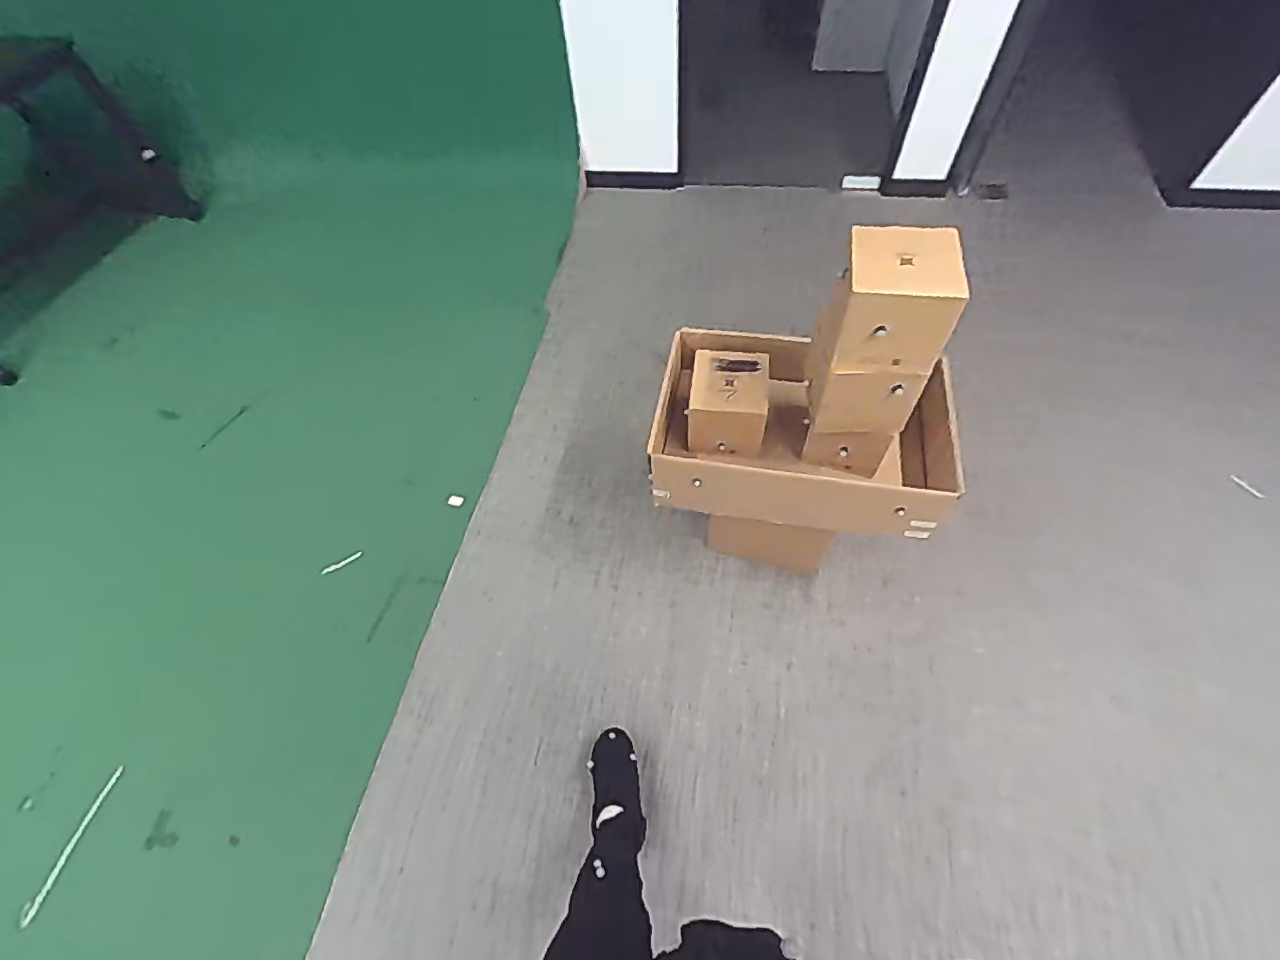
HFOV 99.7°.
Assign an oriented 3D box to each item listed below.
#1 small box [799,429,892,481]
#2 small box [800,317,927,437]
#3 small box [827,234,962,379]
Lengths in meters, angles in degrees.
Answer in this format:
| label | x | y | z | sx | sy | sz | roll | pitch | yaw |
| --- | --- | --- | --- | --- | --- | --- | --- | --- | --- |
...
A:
| label | x | y | z | sx | sy | sz | roll | pitch | yaw |
| --- | --- | --- | --- | --- | --- | --- | --- | --- | --- |
| small box | 0.459 | -0.122 | 1.195 | 0.168 | 0.176 | 0.179 | 16 | 60 | 15 |
| small box | 0.421 | -0.197 | 1.049 | 0.179 | 0.176 | 0.168 | 0 | 55 | 6 |
| small box | 0.419 | -0.291 | 0.917 | 0.168 | 0.176 | 0.179 | 7 | 56 | 10 |
